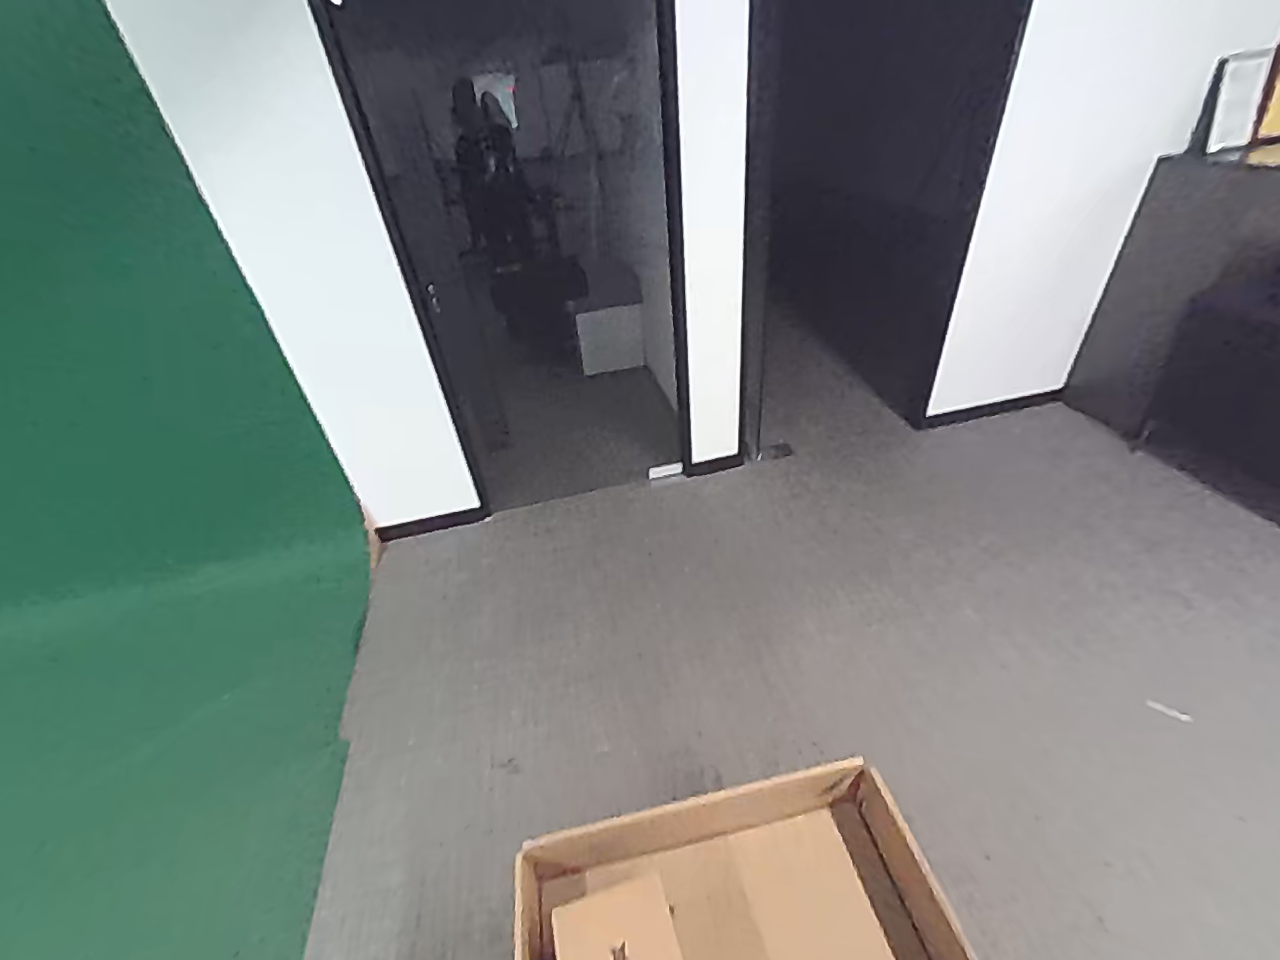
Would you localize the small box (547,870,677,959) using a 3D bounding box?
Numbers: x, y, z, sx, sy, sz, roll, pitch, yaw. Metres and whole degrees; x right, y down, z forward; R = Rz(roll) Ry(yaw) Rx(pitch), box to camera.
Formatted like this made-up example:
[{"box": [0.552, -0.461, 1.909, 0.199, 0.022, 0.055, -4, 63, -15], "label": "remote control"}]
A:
[{"box": [-0.028, 0.704, 0.765, 0.168, 0.176, 0.179, -14, 37, -9], "label": "small box"}]
